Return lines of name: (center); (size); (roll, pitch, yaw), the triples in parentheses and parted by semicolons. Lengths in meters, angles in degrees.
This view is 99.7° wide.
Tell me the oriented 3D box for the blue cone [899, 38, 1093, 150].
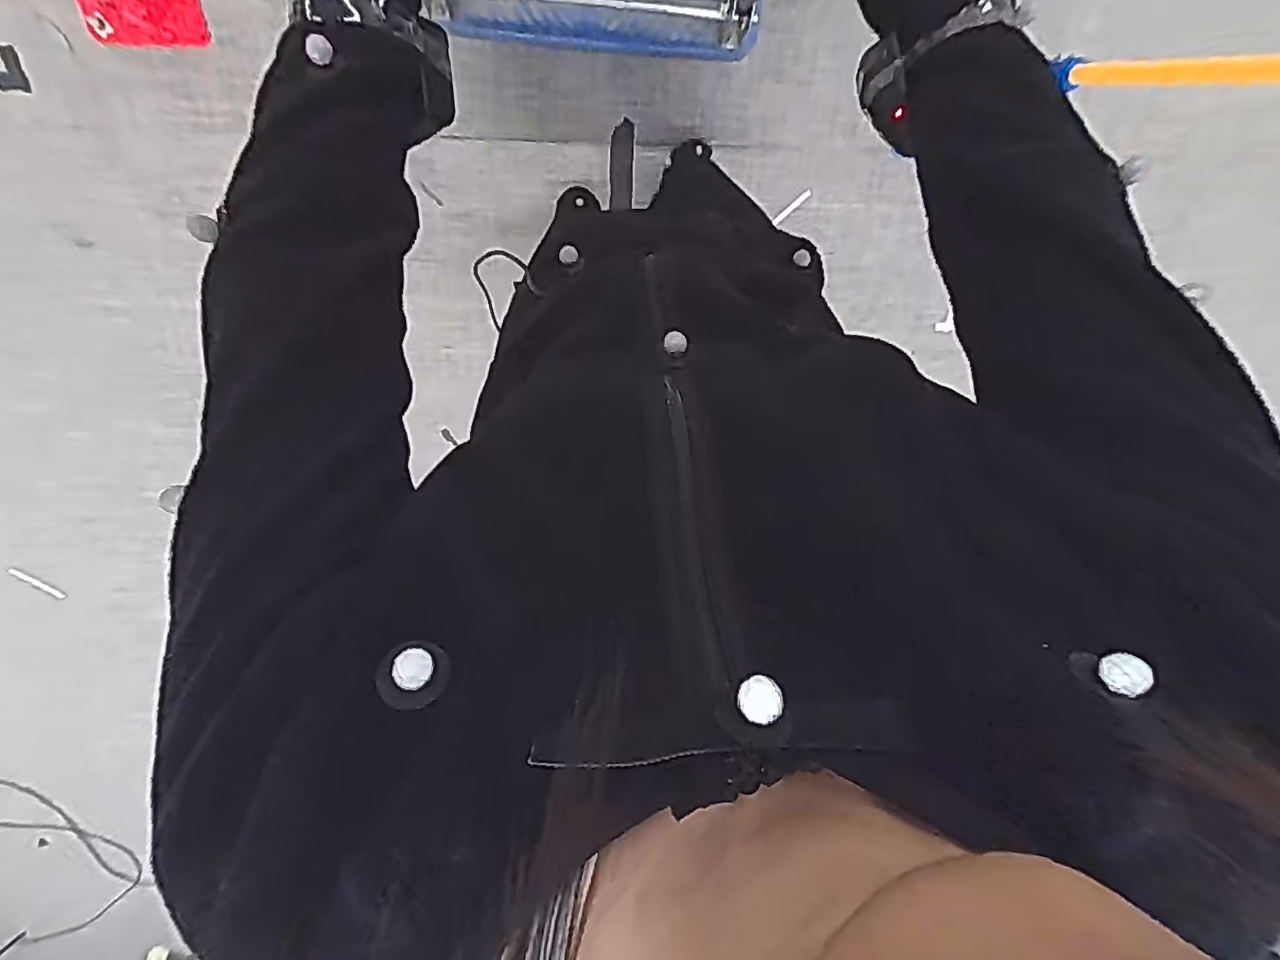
blue cone: (0.666, -0.736, 1.004); (0.193, 0.380, 0.192); (-5, 119, -4)
